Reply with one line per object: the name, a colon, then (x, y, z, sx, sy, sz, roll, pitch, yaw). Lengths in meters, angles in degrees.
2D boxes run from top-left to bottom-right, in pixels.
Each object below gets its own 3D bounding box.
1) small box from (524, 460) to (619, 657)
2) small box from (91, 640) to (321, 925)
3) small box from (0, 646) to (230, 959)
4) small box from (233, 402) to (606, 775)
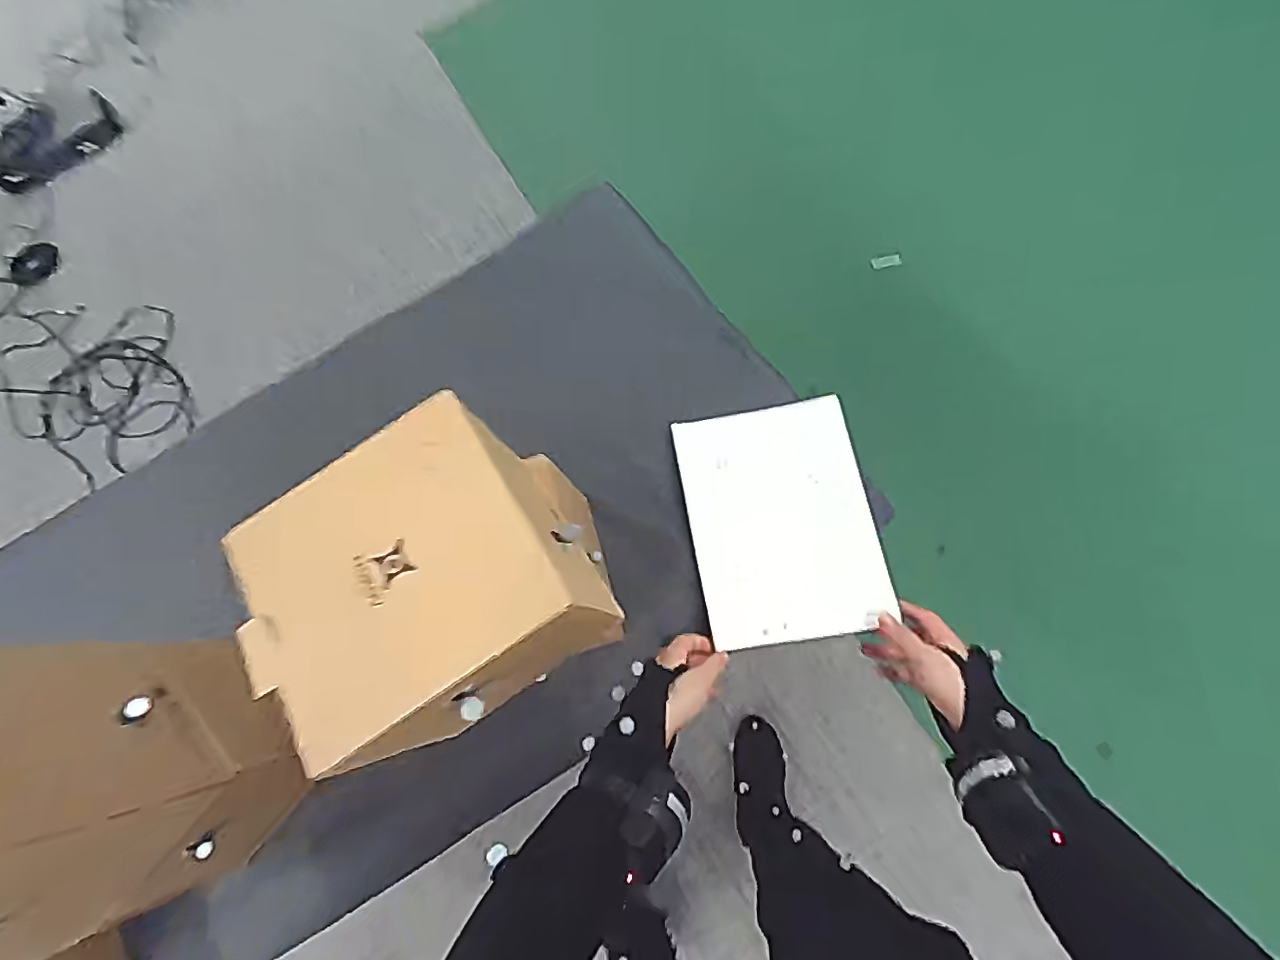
small box: (-0.132, 0.104, 0.569, 0.168, 0.176, 0.179, -18, 72, 4)
small box: (-0.454, 0.289, 0.567, 0.168, 0.176, 0.179, 39, 83, 16)
small box: (-0.476, 0.247, 0.409, 0.168, 0.176, 0.179, 42, 84, 16)
small box: (-0.140, 0.078, 0.408, 0.179, 0.176, 0.168, -34, 72, -1)
